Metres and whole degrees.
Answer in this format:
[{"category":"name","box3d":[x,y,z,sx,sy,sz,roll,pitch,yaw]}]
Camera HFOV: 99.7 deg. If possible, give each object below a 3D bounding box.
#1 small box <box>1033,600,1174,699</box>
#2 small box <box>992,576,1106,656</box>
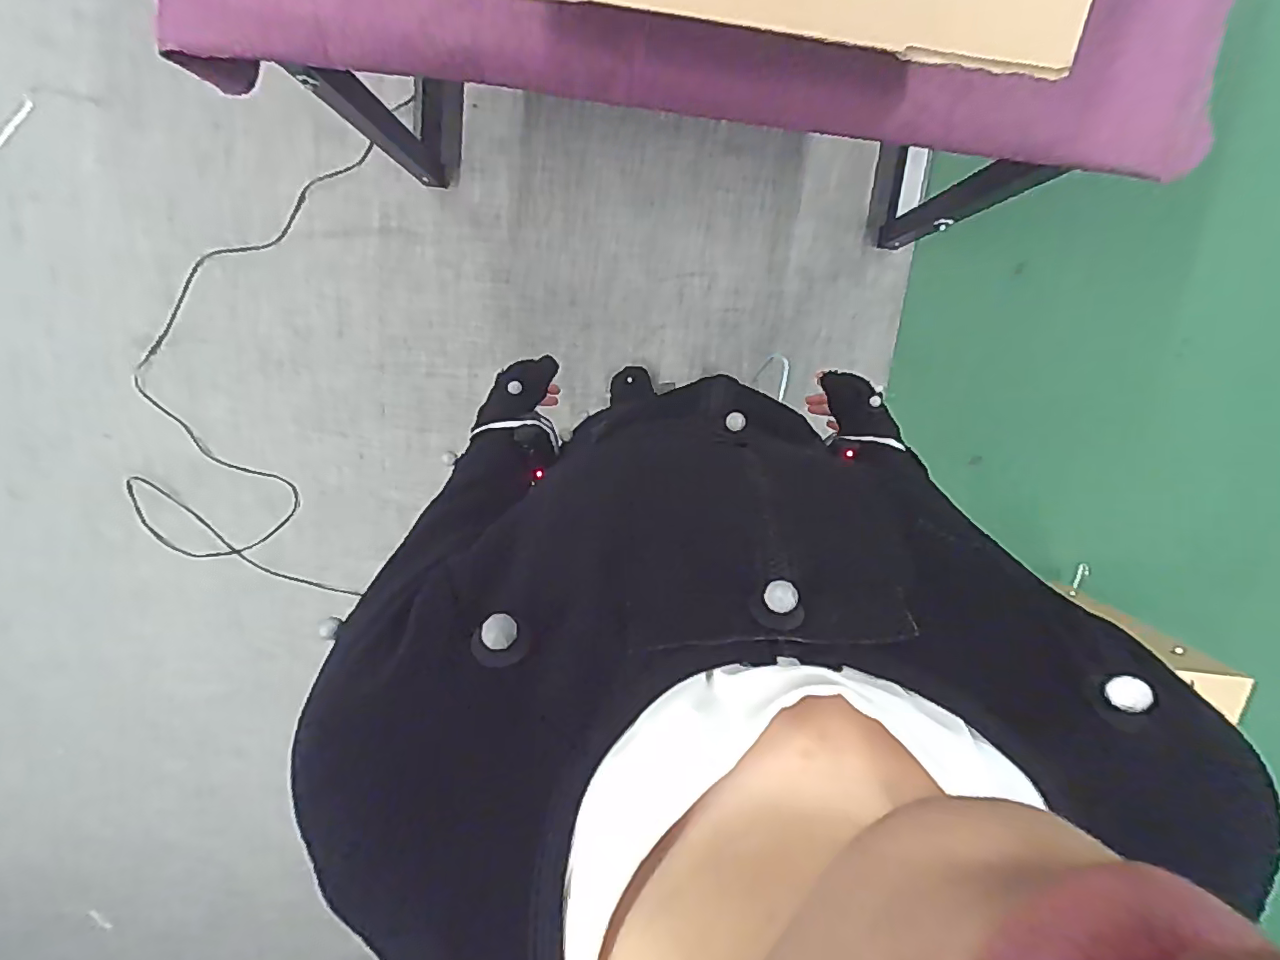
[{"category":"small box","box3d":[1.122,0.409,1.324,0.179,0.176,0.168,6,103,-1]},{"category":"small box","box3d":[1.122,0.376,1.484,0.179,0.176,0.168,8,102,-2]}]
